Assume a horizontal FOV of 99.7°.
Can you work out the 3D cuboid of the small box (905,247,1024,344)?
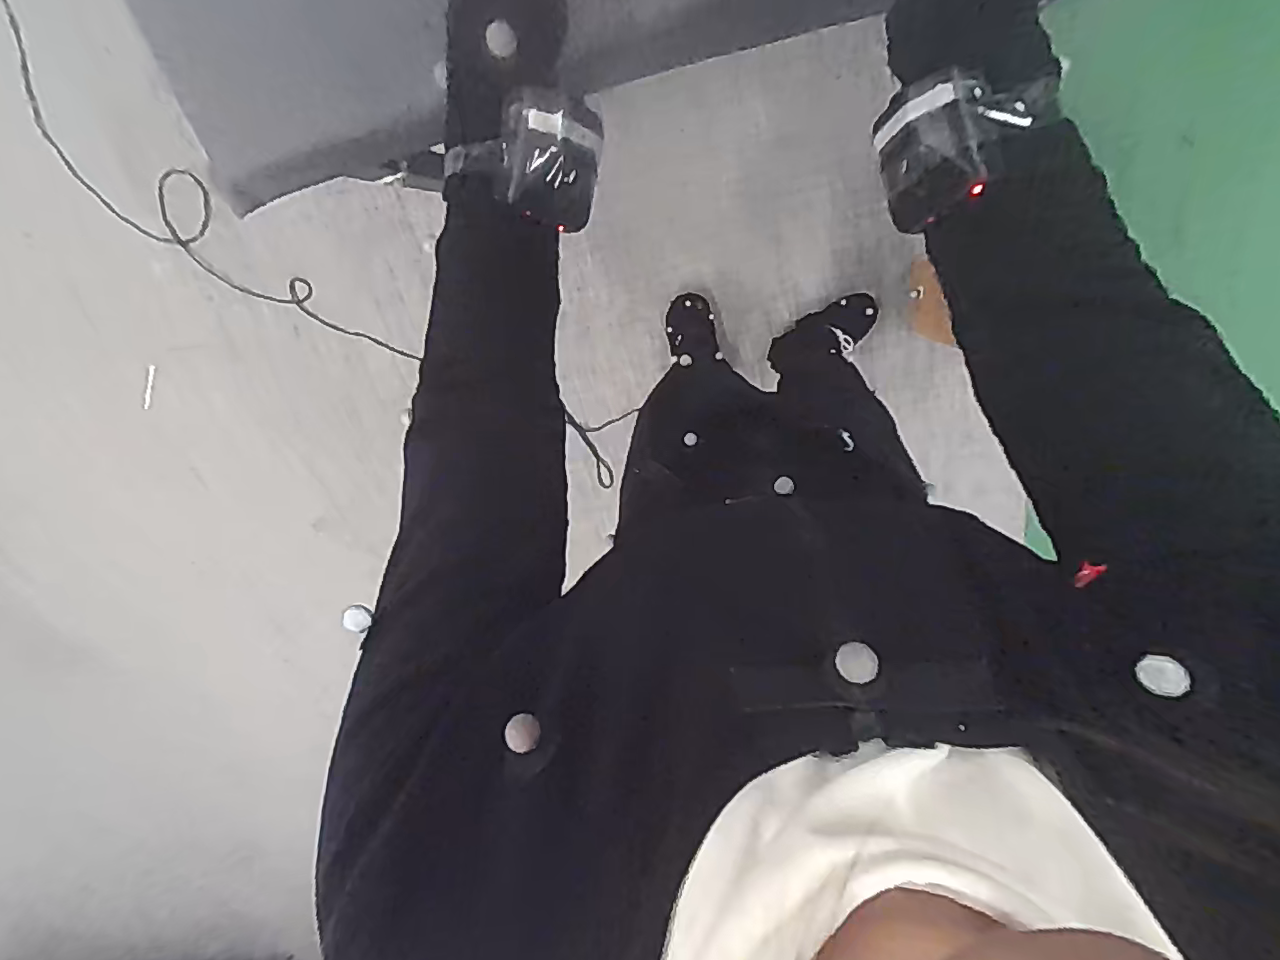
[{"bbox_3d":[0.695,-0.403,1.167,0.179,0.176,0.168,-8,112,9],"label":"small box"}]
